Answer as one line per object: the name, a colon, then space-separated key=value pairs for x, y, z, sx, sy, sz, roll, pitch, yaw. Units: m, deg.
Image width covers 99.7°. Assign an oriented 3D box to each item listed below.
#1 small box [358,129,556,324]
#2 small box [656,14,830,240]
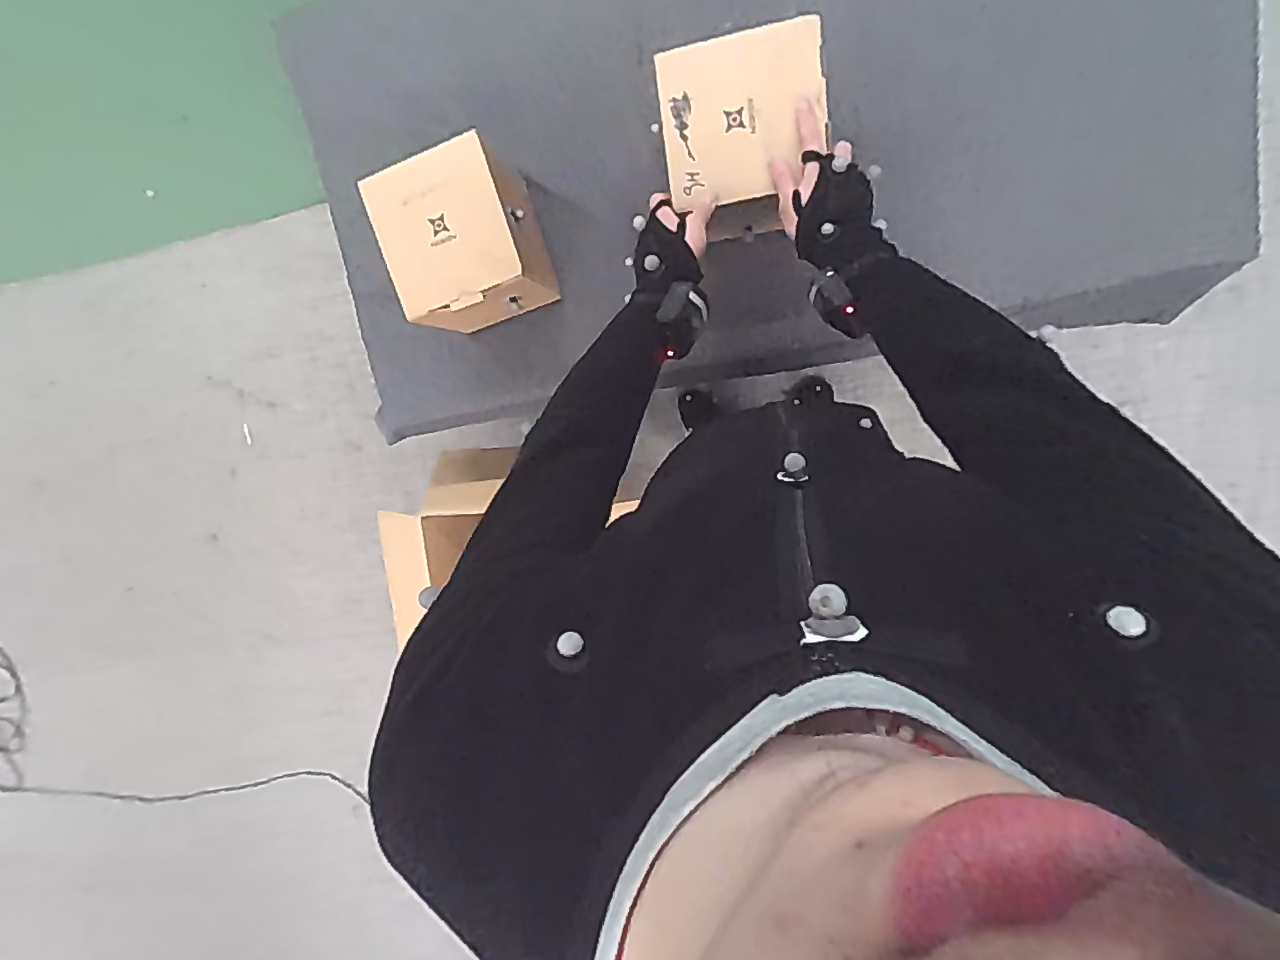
small box: x=-0.232 y=-0.321 z=0.732 sx=0.168 sy=0.176 sz=0.179 roll=-17 pitch=96 yaw=10
small box: x=0.121 y=-0.407 z=0.659 sx=0.179 sy=0.176 sz=0.168 roll=-6 pitch=101 yaw=9
